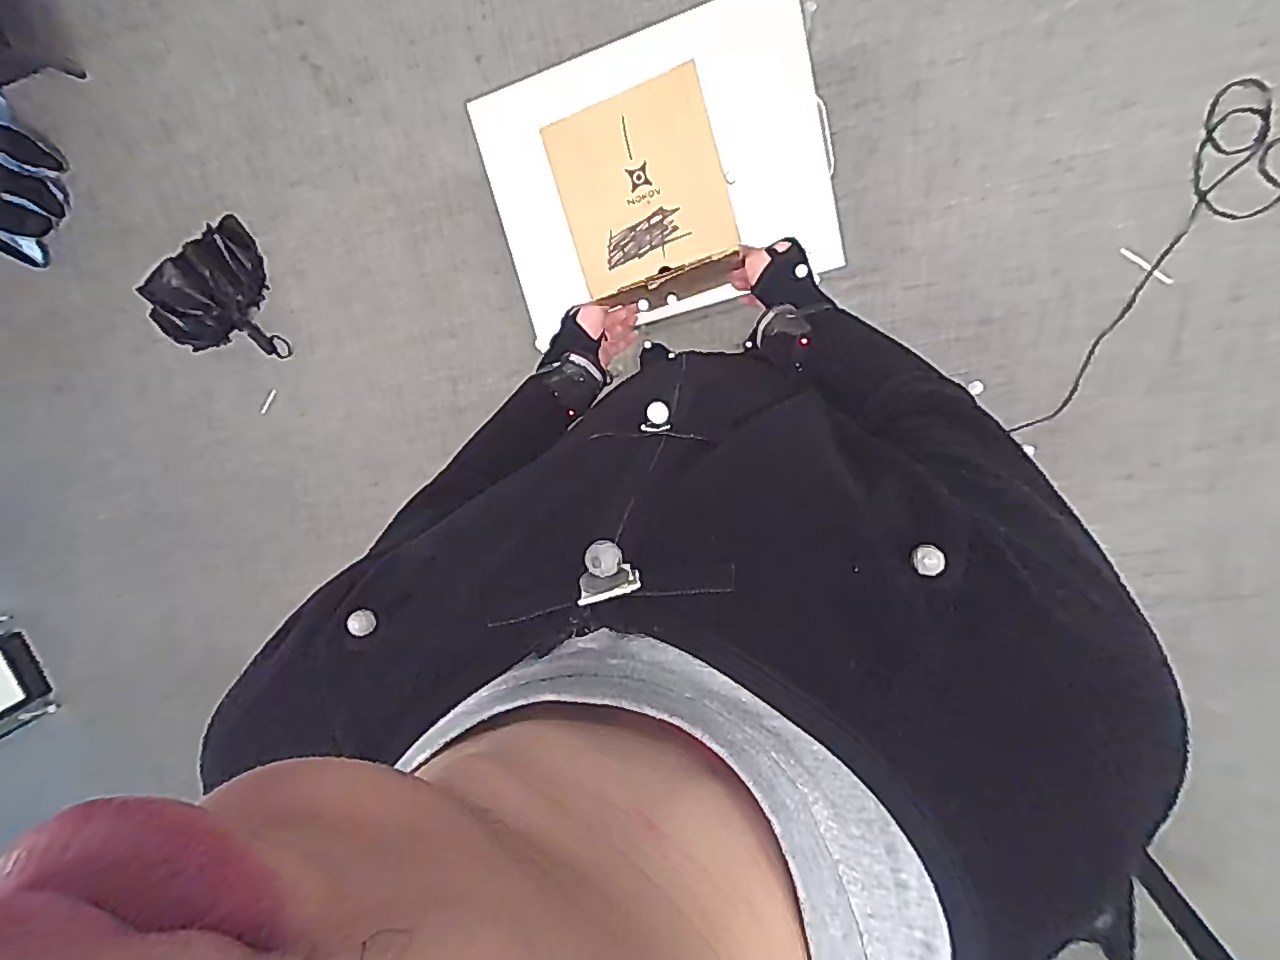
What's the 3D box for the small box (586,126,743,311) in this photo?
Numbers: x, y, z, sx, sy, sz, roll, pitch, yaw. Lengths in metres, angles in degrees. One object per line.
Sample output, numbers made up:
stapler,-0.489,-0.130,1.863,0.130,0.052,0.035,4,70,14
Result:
small box,0.044,-0.354,0.773,0.168,0.176,0.179,-16,101,15
